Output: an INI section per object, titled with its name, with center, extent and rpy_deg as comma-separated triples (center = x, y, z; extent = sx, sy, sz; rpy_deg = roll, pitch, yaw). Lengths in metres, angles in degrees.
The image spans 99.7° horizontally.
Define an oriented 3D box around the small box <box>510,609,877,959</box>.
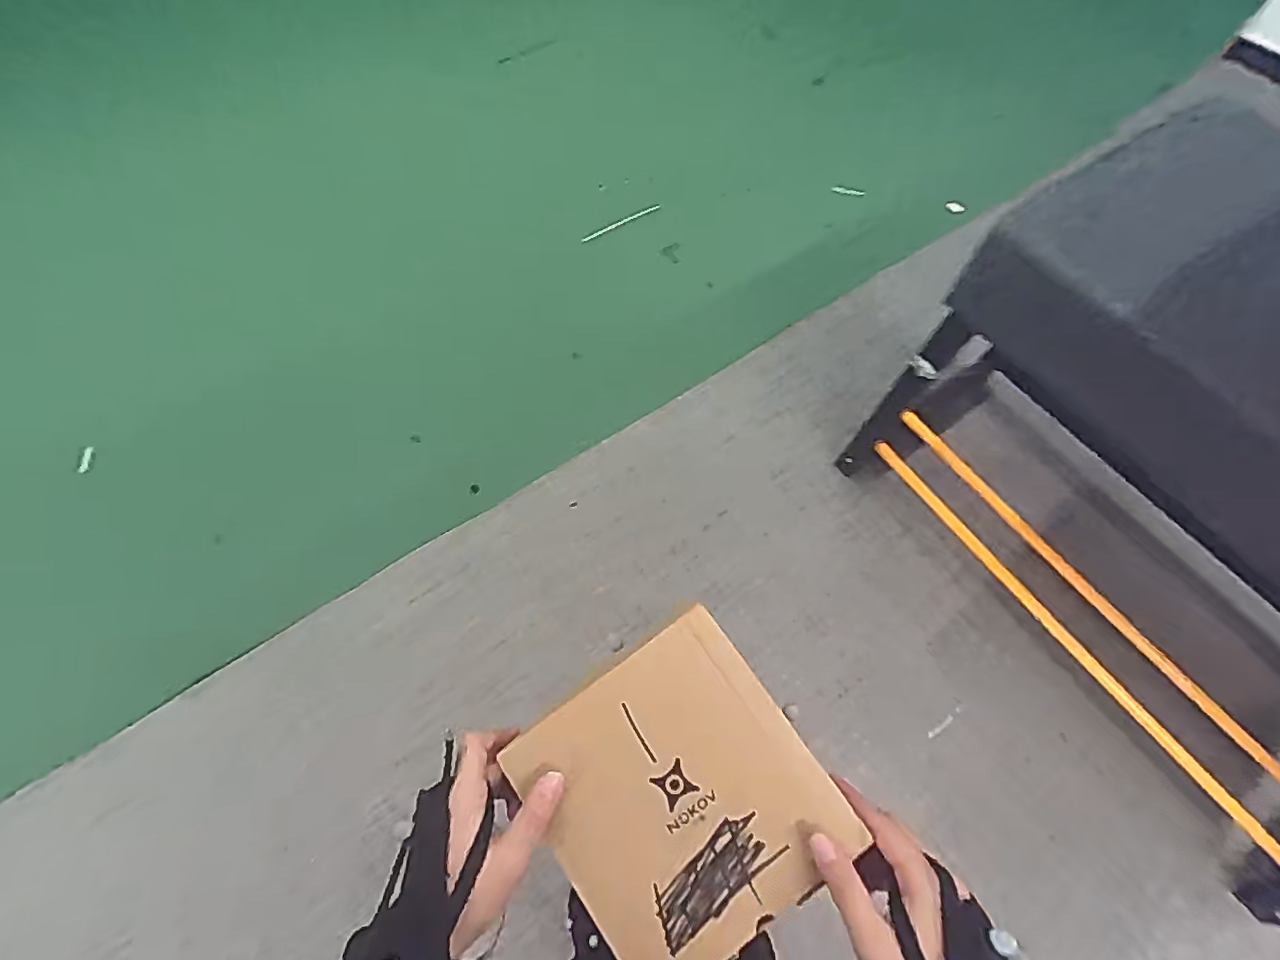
[small box]
center = 0.034, 0.213, 0.412
extent = 0.168, 0.176, 0.179
rpy_deg = -35, 78, -5
